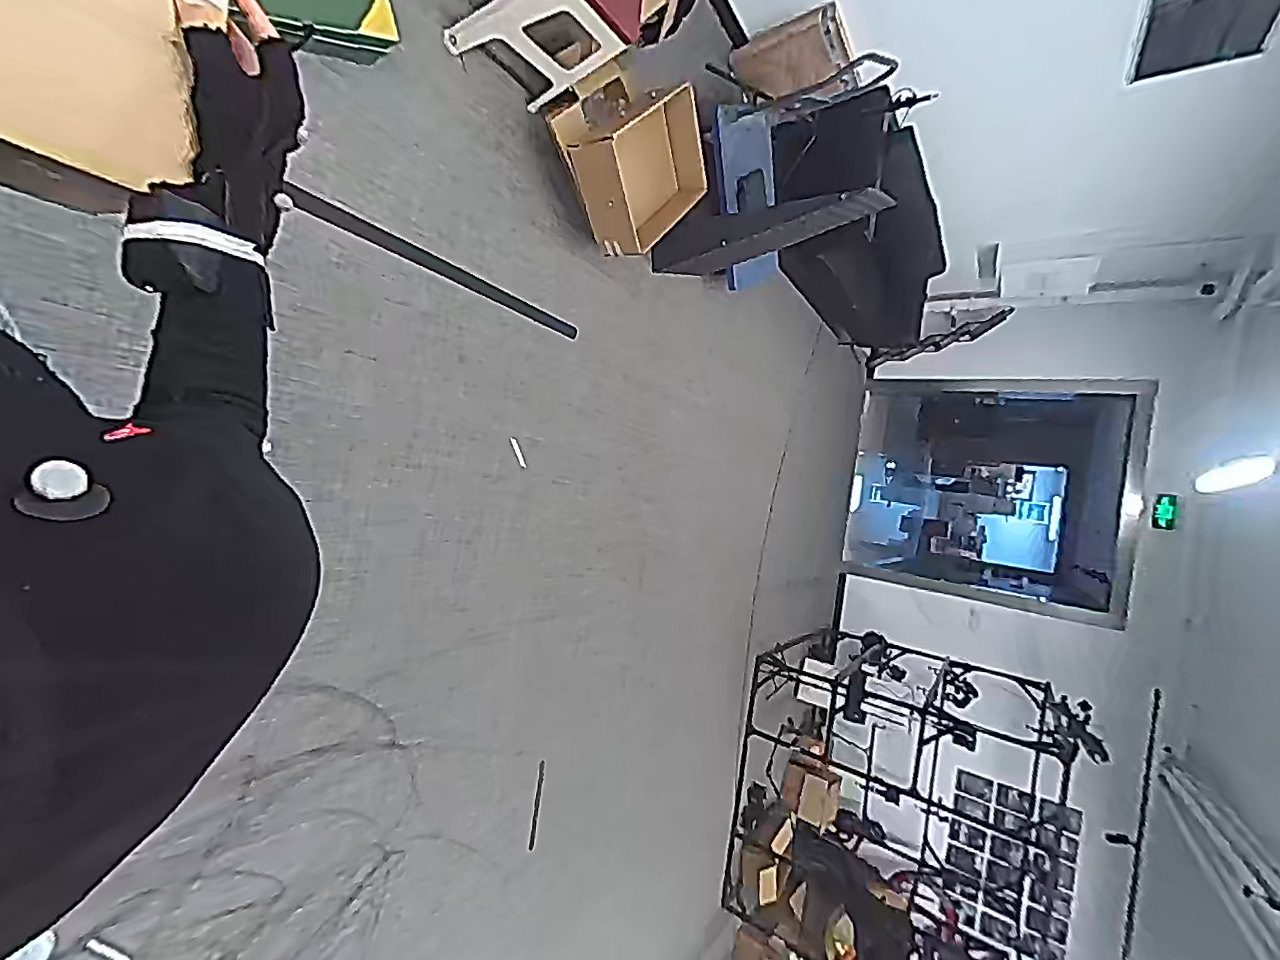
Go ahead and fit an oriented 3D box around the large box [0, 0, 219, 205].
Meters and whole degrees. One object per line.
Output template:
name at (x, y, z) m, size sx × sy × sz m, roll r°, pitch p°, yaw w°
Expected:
large box at (-0.551, -0.415, 0.329) m, size 0.408 × 0.320 × 0.320 m, roll 7°, pitch 100°, yaw -57°
